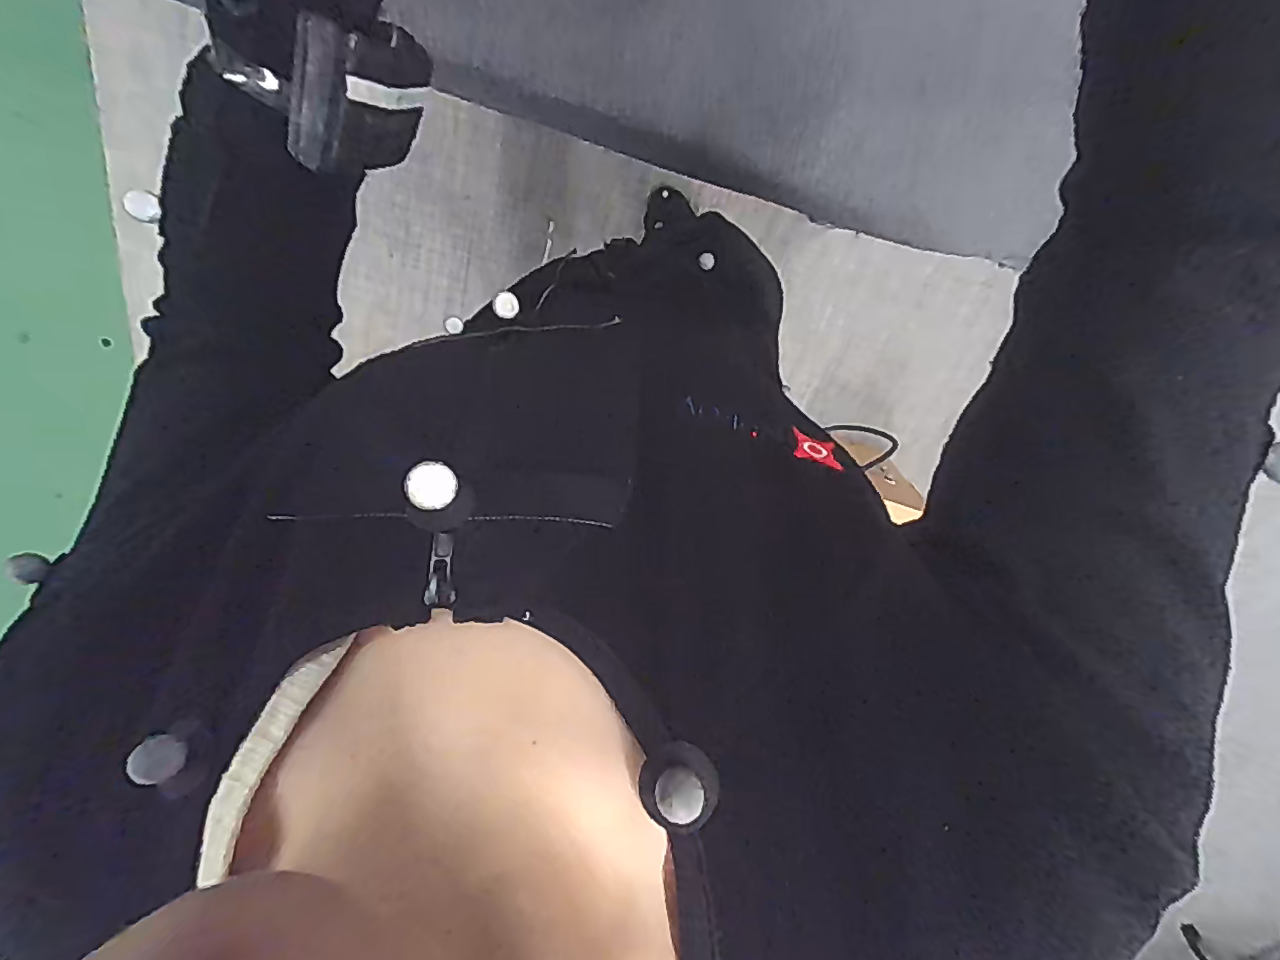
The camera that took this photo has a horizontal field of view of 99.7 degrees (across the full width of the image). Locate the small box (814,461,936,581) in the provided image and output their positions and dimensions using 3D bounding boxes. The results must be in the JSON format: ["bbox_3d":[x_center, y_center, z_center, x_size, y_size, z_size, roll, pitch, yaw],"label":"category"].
[{"bbox_3d":[0.498,0.085,1.184,0.168,0.176,0.179,17,116,-5],"label":"small box"}]

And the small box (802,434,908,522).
[{"bbox_3d":[0.514,0.015,1.330,0.168,0.176,0.179,20,118,-5],"label":"small box"}]
